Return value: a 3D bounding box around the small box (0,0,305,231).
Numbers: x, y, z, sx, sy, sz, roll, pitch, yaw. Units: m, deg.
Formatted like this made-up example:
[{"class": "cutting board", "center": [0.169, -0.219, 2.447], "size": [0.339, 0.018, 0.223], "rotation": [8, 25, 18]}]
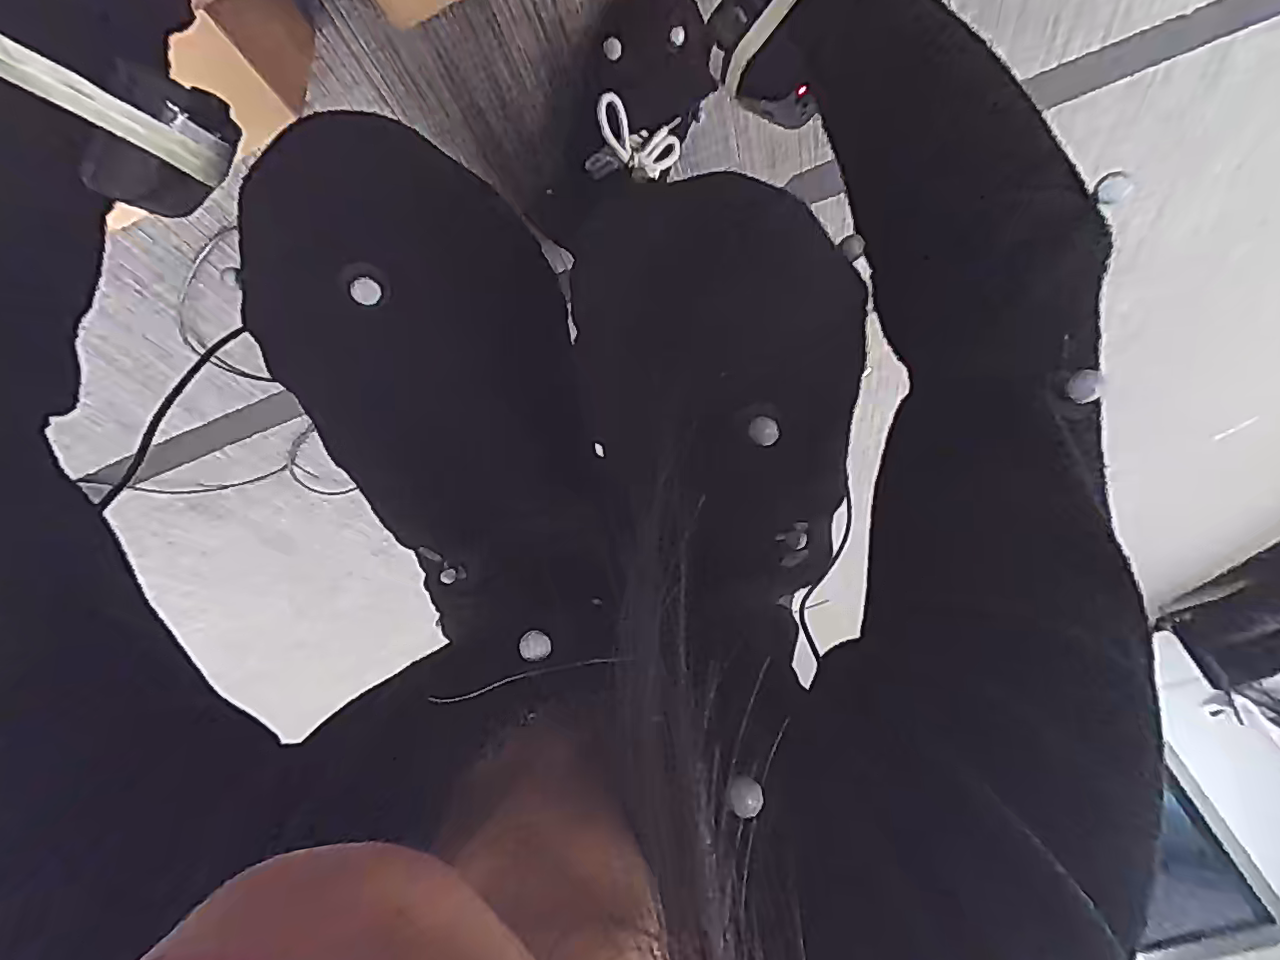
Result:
[{"class": "small box", "center": [-0.350, -0.310, 0.351], "size": [0.179, 0.176, 0.168], "rotation": [-23, 148, 9]}]
